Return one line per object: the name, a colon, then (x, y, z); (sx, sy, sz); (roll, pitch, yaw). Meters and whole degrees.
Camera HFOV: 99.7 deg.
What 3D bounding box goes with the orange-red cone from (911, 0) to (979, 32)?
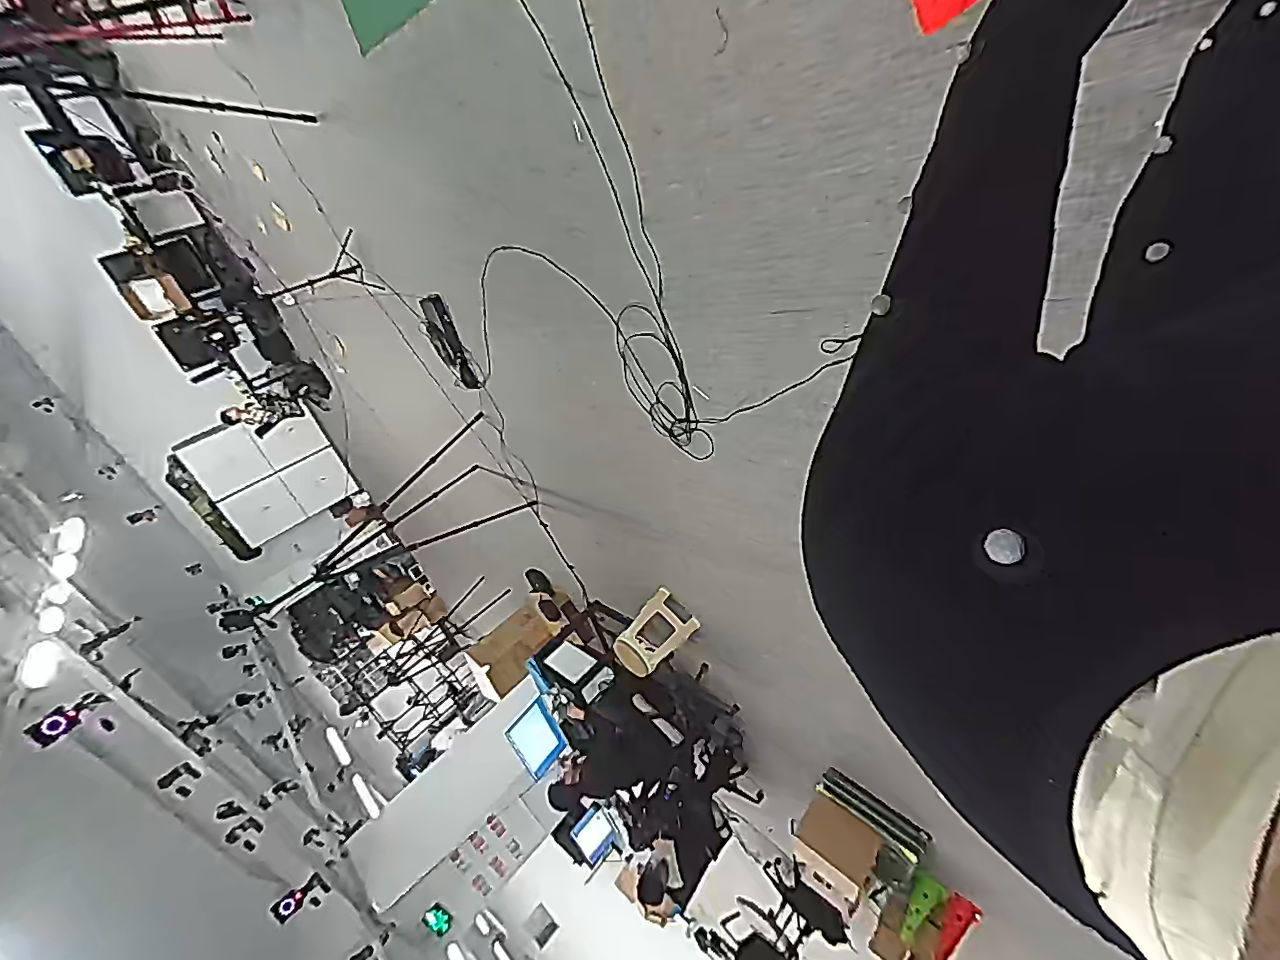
orange-red cone: (0.521, -0.973, 1.003); (0.199, 0.360, 0.198); (-2, 120, 54)
